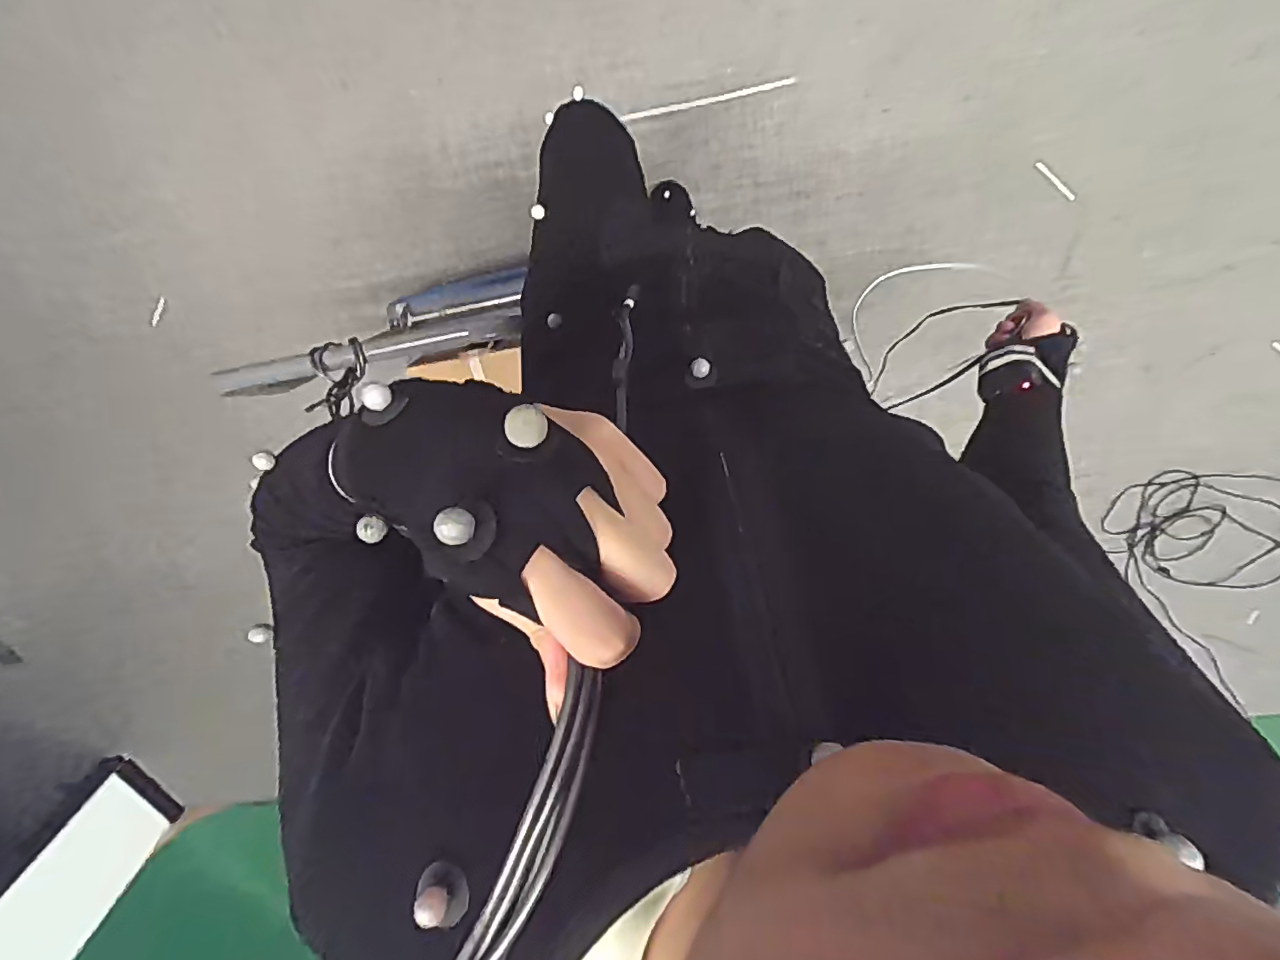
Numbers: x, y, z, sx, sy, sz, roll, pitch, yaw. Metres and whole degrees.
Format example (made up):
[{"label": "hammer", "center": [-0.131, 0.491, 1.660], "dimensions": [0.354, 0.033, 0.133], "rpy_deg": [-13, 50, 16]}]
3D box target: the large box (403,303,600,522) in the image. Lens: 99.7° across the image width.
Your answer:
[{"label": "large box", "center": [-0.296, -0.168, 1.307], "dimensions": [0.320, 0.320, 0.408], "rpy_deg": [-9, 120, 7]}]
